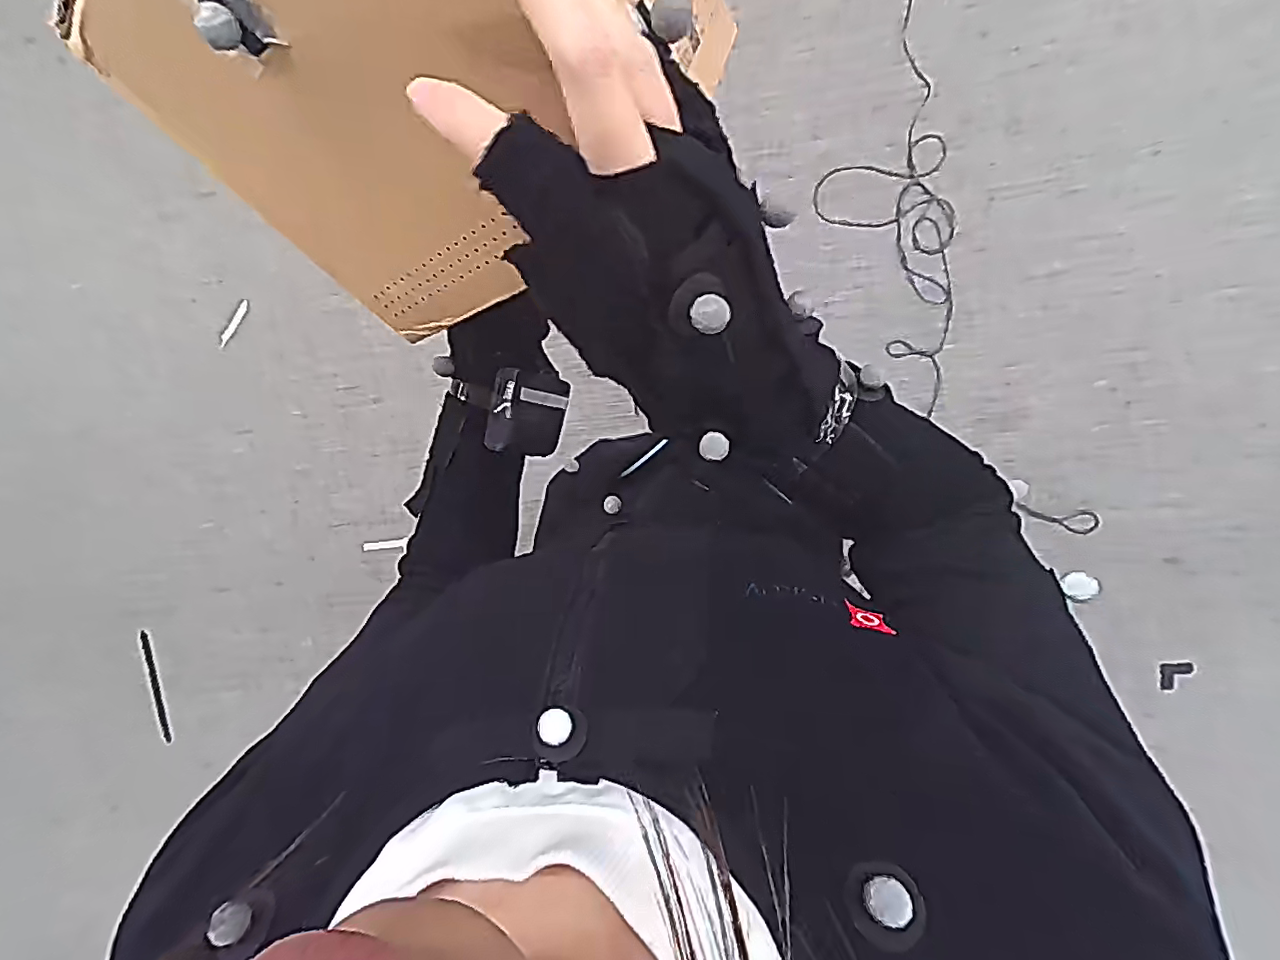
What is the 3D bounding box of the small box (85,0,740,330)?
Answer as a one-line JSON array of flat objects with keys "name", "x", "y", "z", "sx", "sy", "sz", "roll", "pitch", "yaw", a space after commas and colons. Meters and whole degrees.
[{"name": "small box", "x": -0.081, "y": -0.196, "z": 0.245, "sx": 0.179, "sy": 0.176, "sz": 0.168, "roll": -7, "pitch": 53, "yaw": 38}]
